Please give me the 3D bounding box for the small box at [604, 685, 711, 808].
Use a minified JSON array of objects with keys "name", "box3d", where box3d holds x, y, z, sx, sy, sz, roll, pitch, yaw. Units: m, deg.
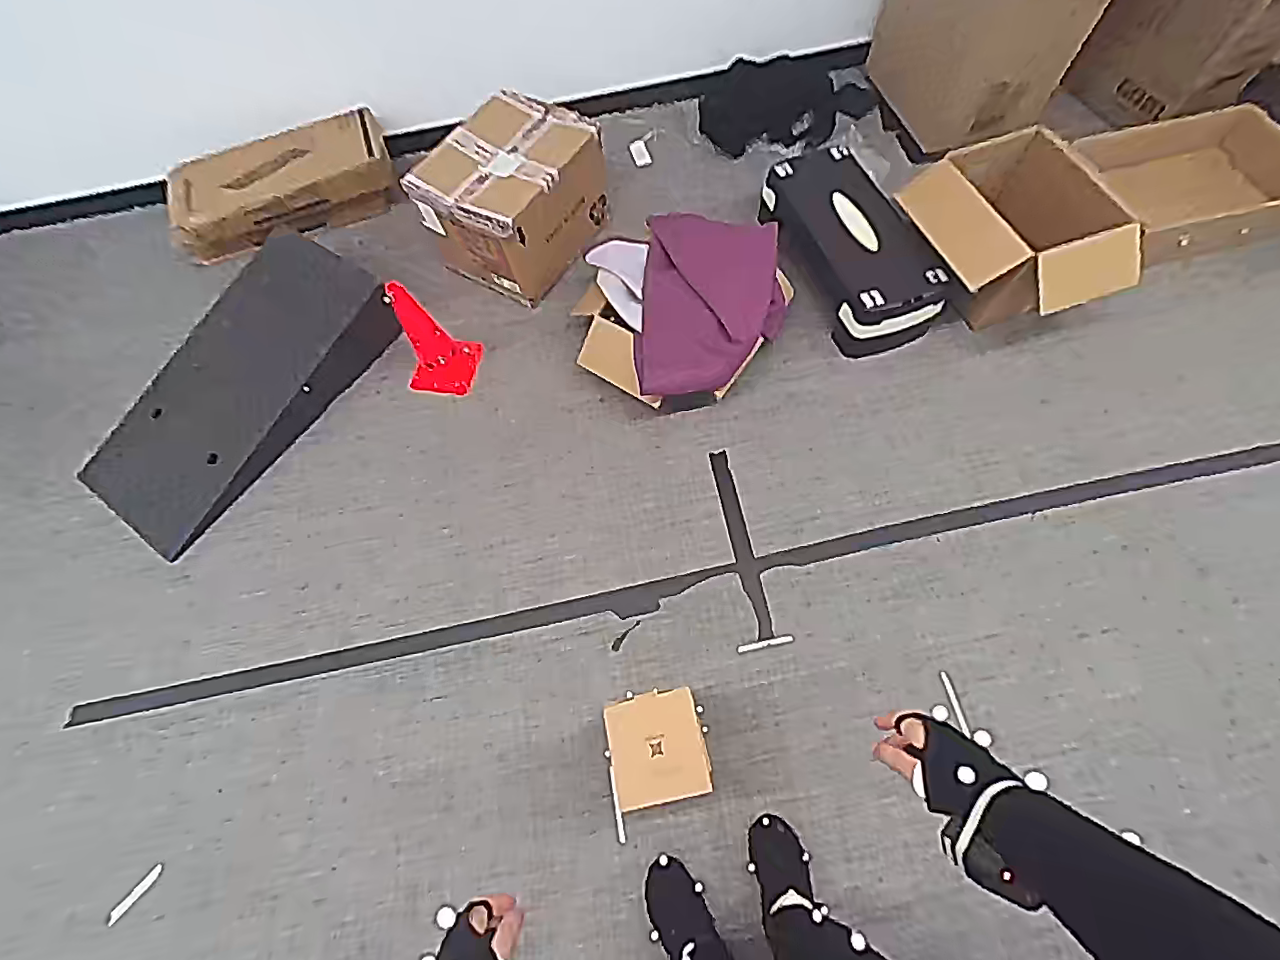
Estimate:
[{"name":"small box","box3d":[0.033,0.502,1.035,0.168,0.176,0.179,-13,67,0]}]
